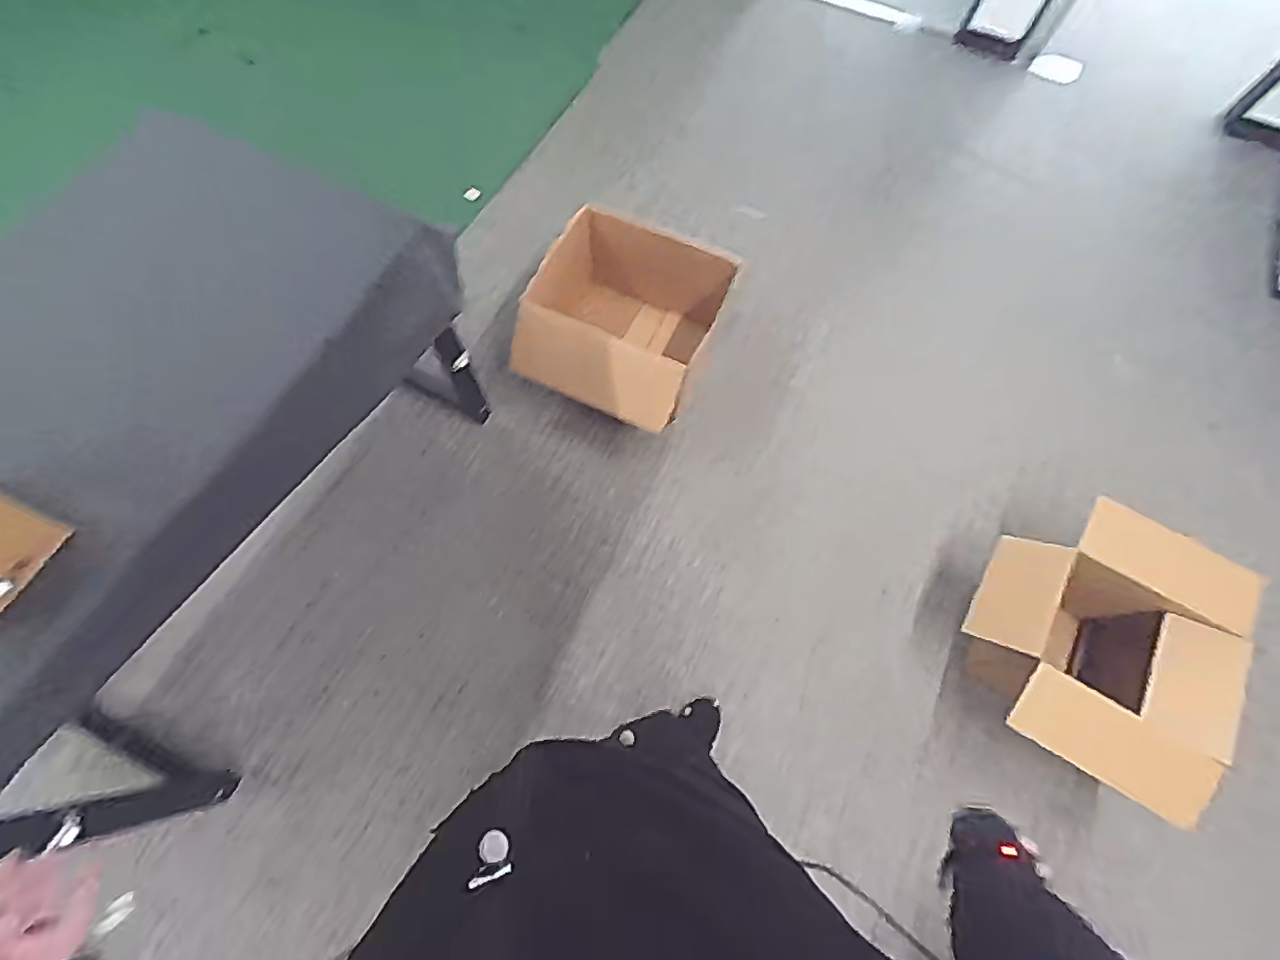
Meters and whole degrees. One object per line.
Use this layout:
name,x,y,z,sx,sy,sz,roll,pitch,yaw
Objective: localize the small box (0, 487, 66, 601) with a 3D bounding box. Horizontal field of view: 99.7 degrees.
small box,-0.906,0.065,0.666,0.179,0.176,0.168,23,68,6
